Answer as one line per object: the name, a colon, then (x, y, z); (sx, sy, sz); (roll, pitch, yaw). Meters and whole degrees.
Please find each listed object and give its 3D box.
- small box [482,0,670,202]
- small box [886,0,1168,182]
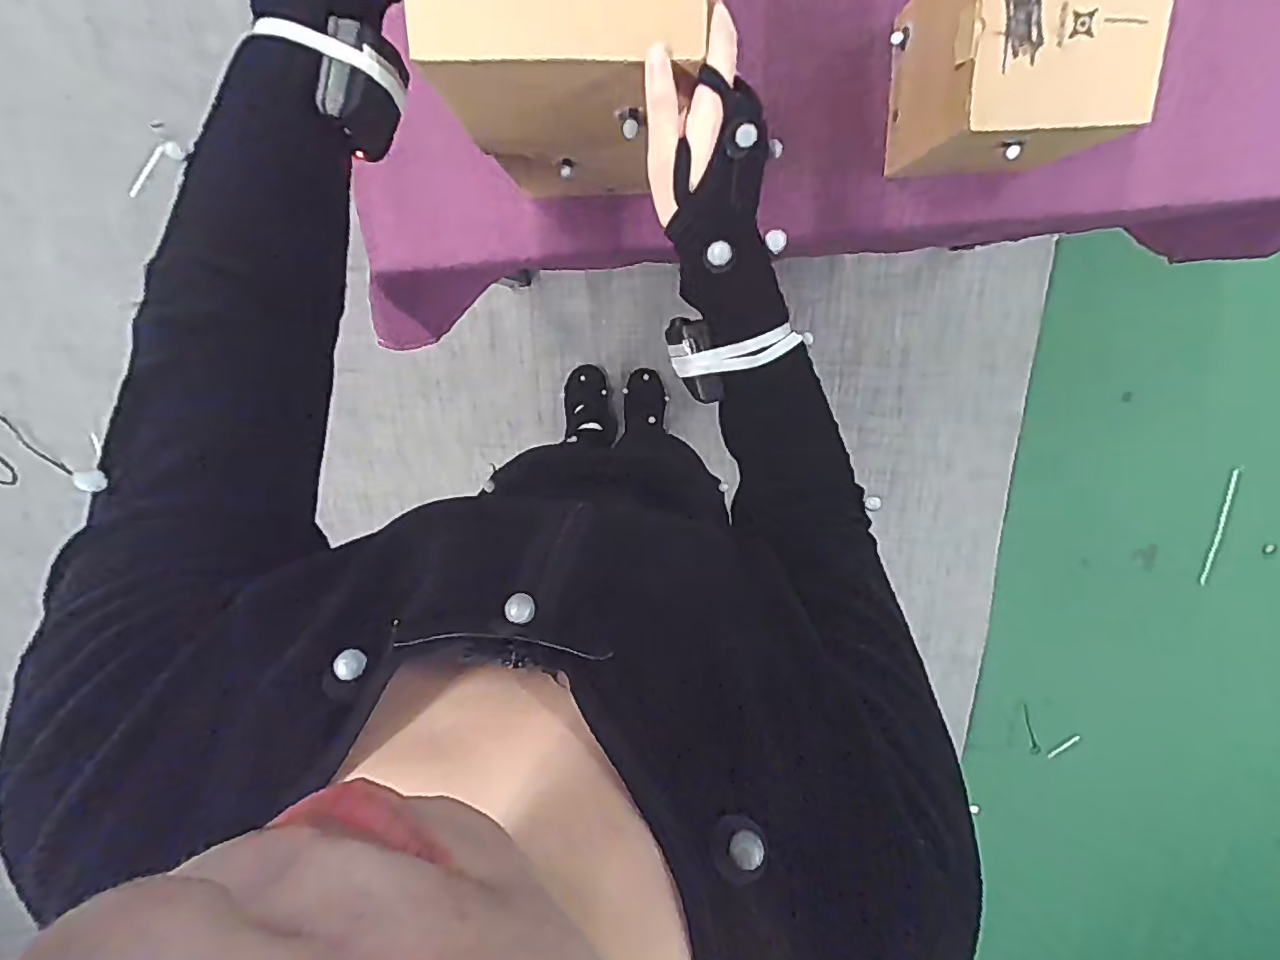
small box: (-0.057, -0.401, 0.554); (0.168, 0.176, 0.179); (-2, 106, 0)
small box: (0.378, -0.419, 0.559); (0.179, 0.176, 0.168); (-3, 107, -1)
